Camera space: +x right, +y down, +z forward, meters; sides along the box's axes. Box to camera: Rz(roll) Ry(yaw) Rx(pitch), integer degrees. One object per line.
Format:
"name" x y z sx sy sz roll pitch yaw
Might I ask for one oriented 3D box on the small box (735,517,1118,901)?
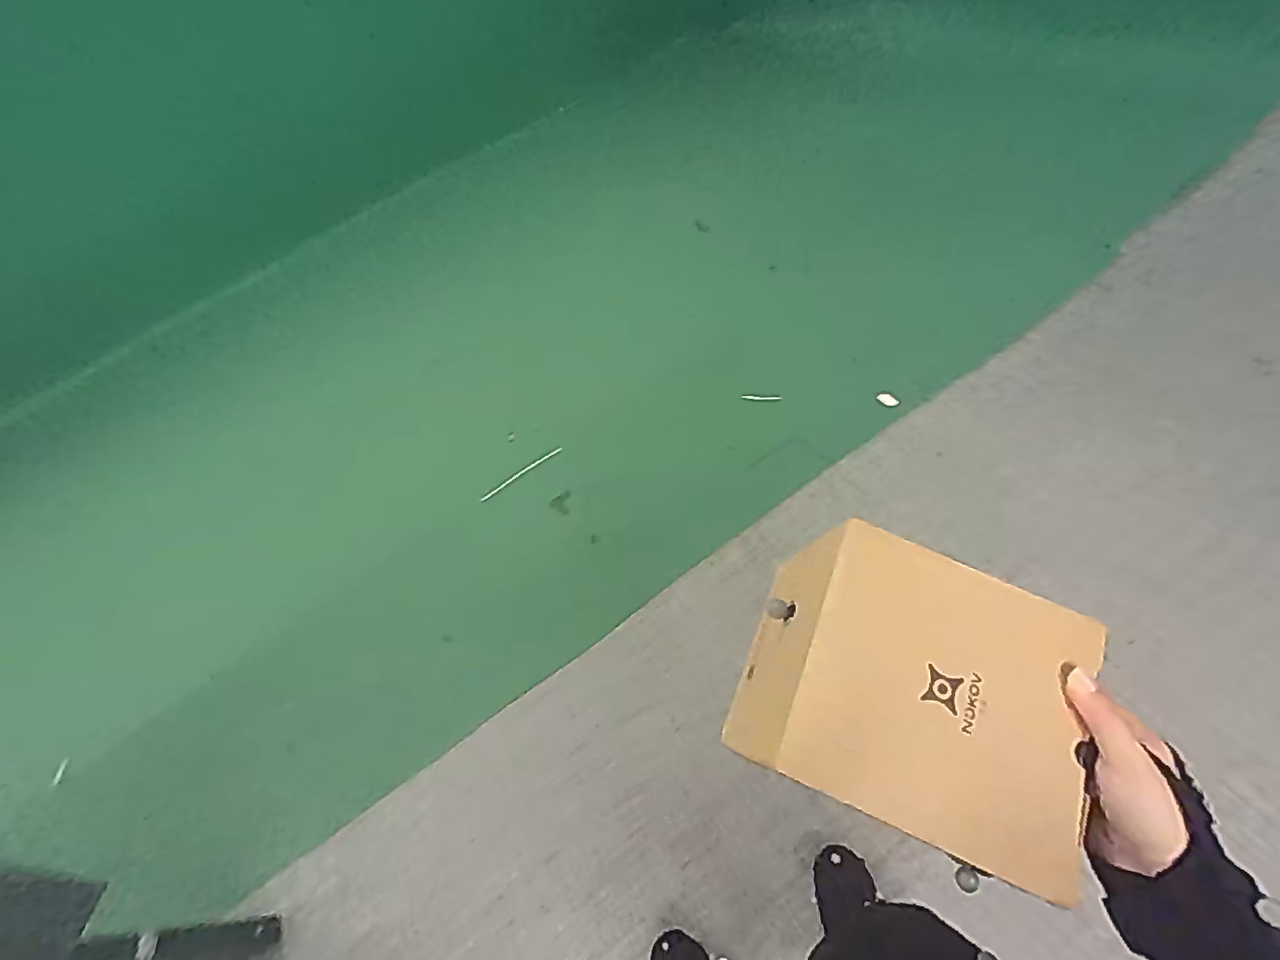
"small box" 0.188 0.154 0.399 0.179 0.176 0.168 24 70 4
